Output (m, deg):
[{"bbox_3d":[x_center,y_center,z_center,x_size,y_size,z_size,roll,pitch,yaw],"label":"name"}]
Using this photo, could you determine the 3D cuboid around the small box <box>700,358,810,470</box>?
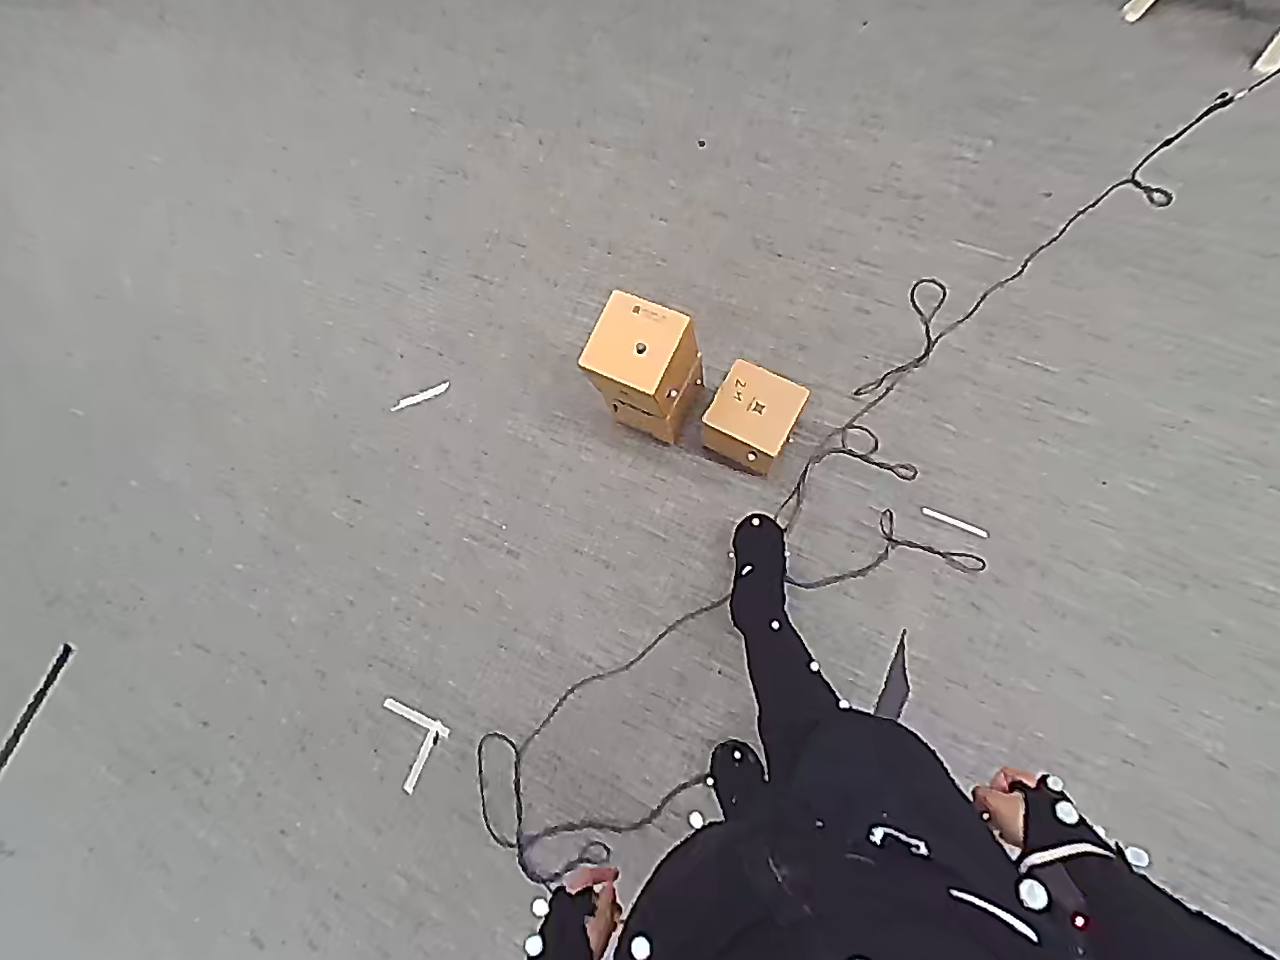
[{"bbox_3d":[0.251,-0.137,1.207,0.179,0.176,0.168,28,81,14],"label":"small box"}]
